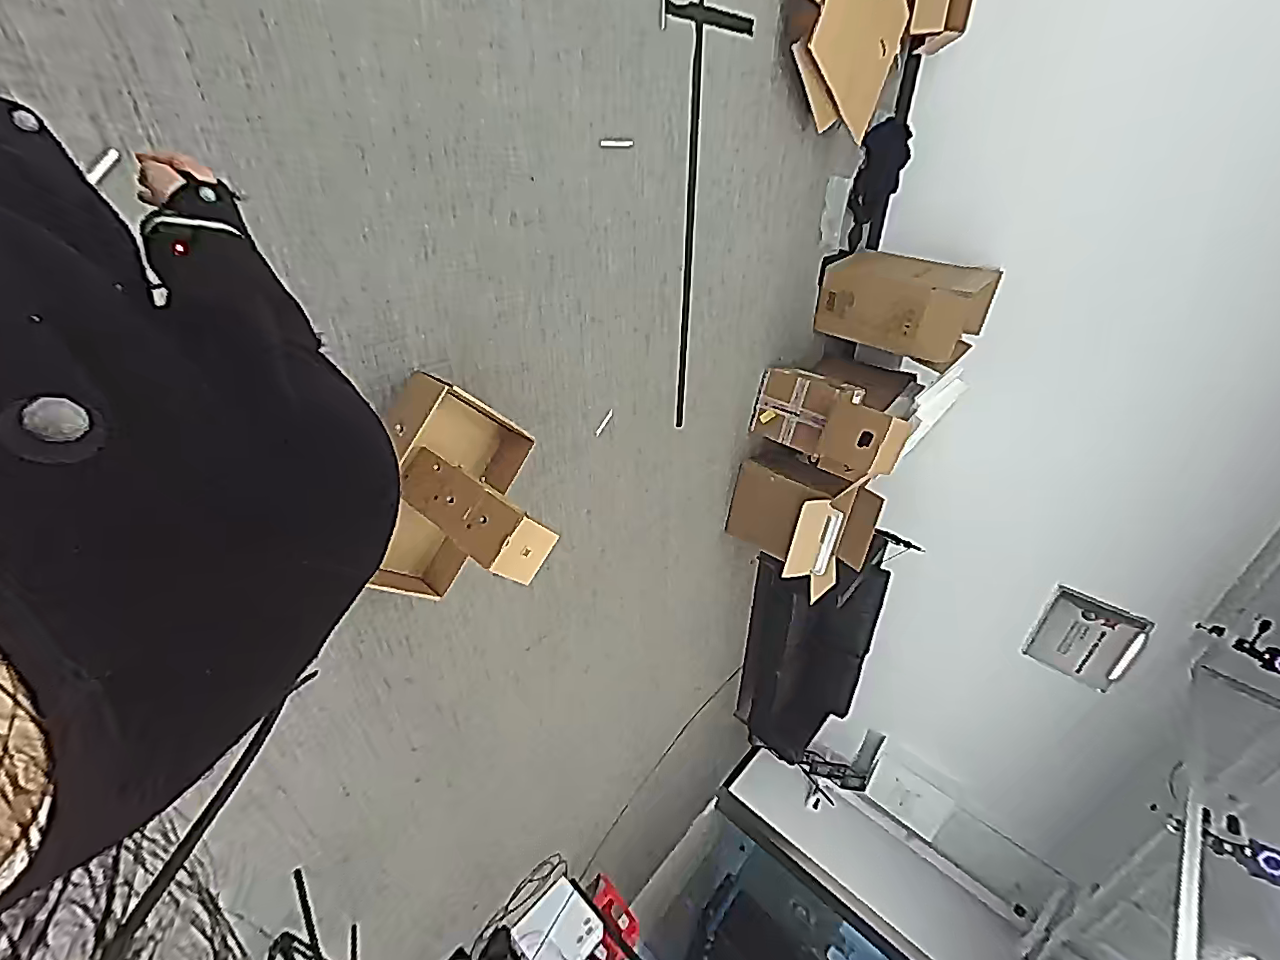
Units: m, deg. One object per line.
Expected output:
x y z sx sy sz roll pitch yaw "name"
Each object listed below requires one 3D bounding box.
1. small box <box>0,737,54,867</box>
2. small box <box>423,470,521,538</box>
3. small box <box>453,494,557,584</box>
-1.109 0.530 0.862 0.179 0.176 0.168 -57 145 -8 "small box"
-0.491 0.089 1.569 0.168 0.176 0.179 -57 145 -7 "small box"
-0.370 0.160 1.484 0.168 0.176 0.179 -58 146 -7 "small box"
